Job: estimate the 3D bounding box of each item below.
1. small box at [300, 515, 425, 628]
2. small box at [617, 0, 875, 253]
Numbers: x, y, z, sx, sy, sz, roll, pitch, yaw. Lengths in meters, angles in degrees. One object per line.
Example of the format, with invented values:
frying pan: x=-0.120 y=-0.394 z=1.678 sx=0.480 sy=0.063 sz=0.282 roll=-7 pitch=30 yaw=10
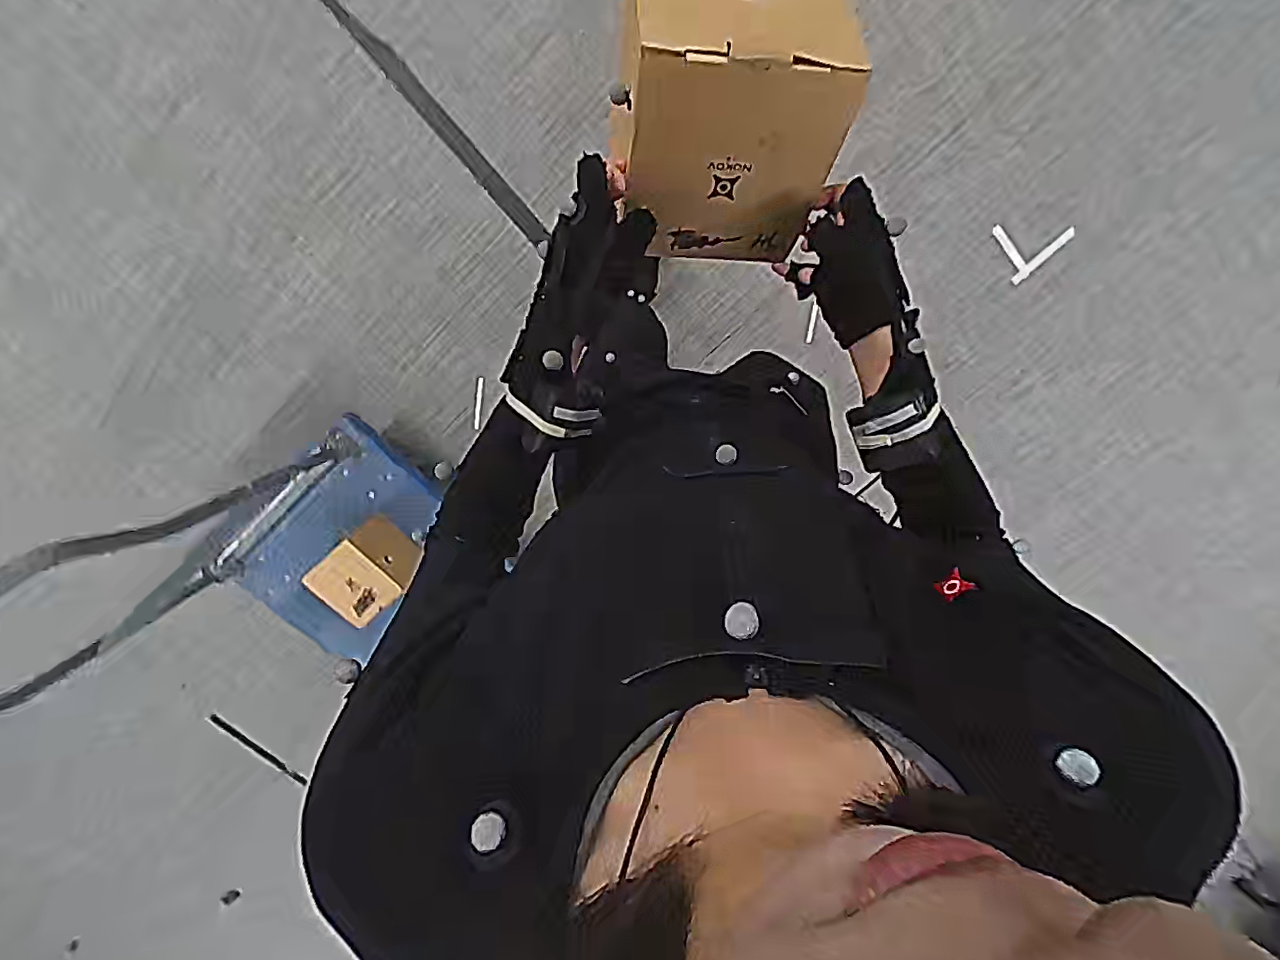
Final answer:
small box: x=-0.664 y=0.217 z=1.319 sx=0.168 sy=0.176 sz=0.179 roll=-39 pitch=105 yaw=12
small box: x=0.069 y=-0.331 z=0.471 sx=0.168 sy=0.179 sz=0.176 roll=1 pitch=66 yaw=-7
